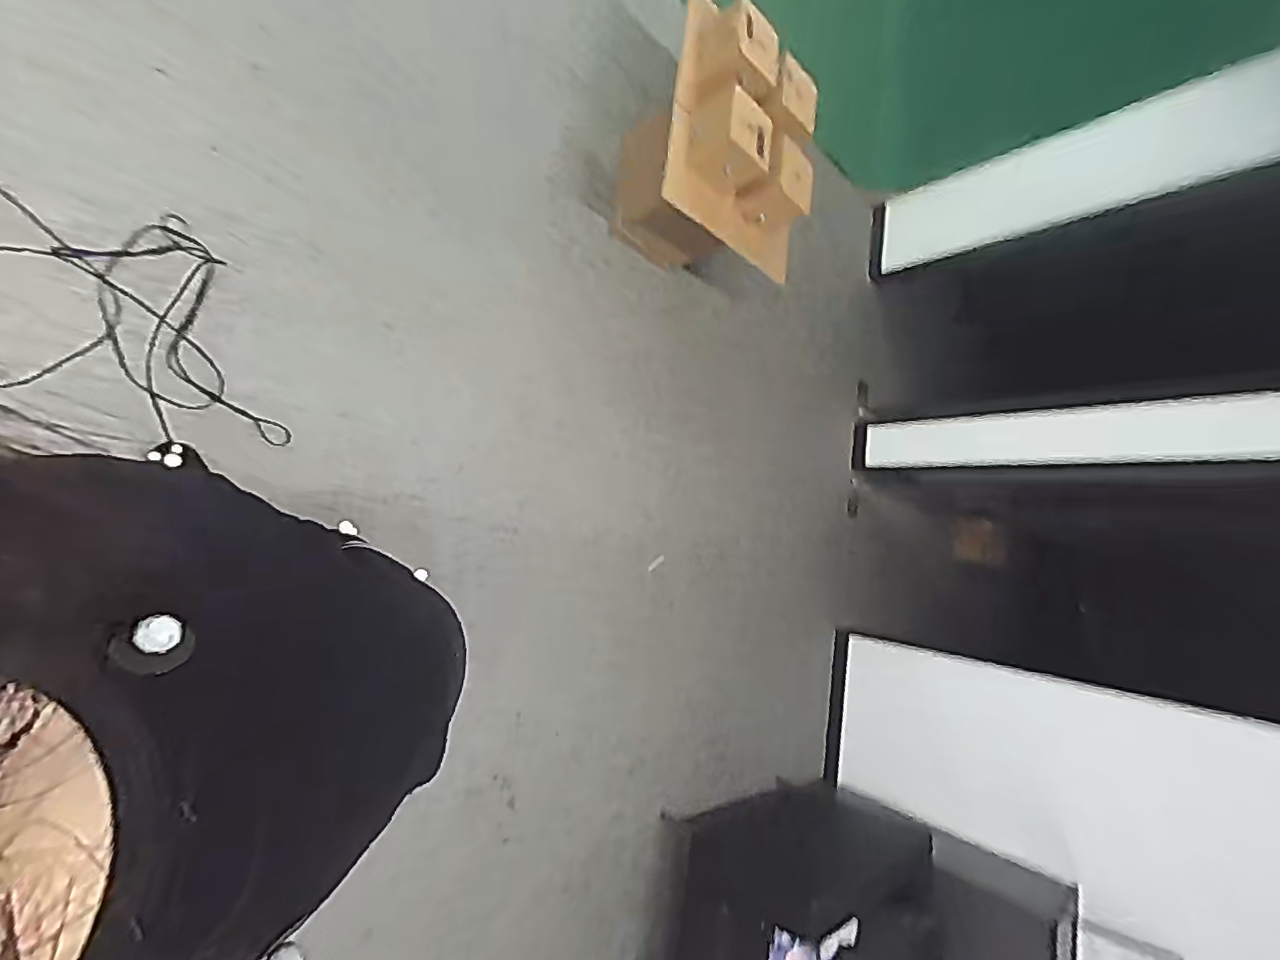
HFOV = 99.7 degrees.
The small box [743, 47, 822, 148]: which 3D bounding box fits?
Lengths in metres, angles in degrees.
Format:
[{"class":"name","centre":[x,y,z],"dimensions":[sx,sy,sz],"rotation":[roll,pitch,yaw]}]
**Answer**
[{"class":"small box","centre":[0.449,-1.189,1.701],"dimensions":[0.179,0.176,0.168],"rotation":[12,81,-42]}]

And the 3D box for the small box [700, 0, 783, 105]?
[{"class":"small box","centre":[0.291,-1.238,1.563],"dimensions":[0.179,0.176,0.168],"rotation":[7,86,-41]}]
